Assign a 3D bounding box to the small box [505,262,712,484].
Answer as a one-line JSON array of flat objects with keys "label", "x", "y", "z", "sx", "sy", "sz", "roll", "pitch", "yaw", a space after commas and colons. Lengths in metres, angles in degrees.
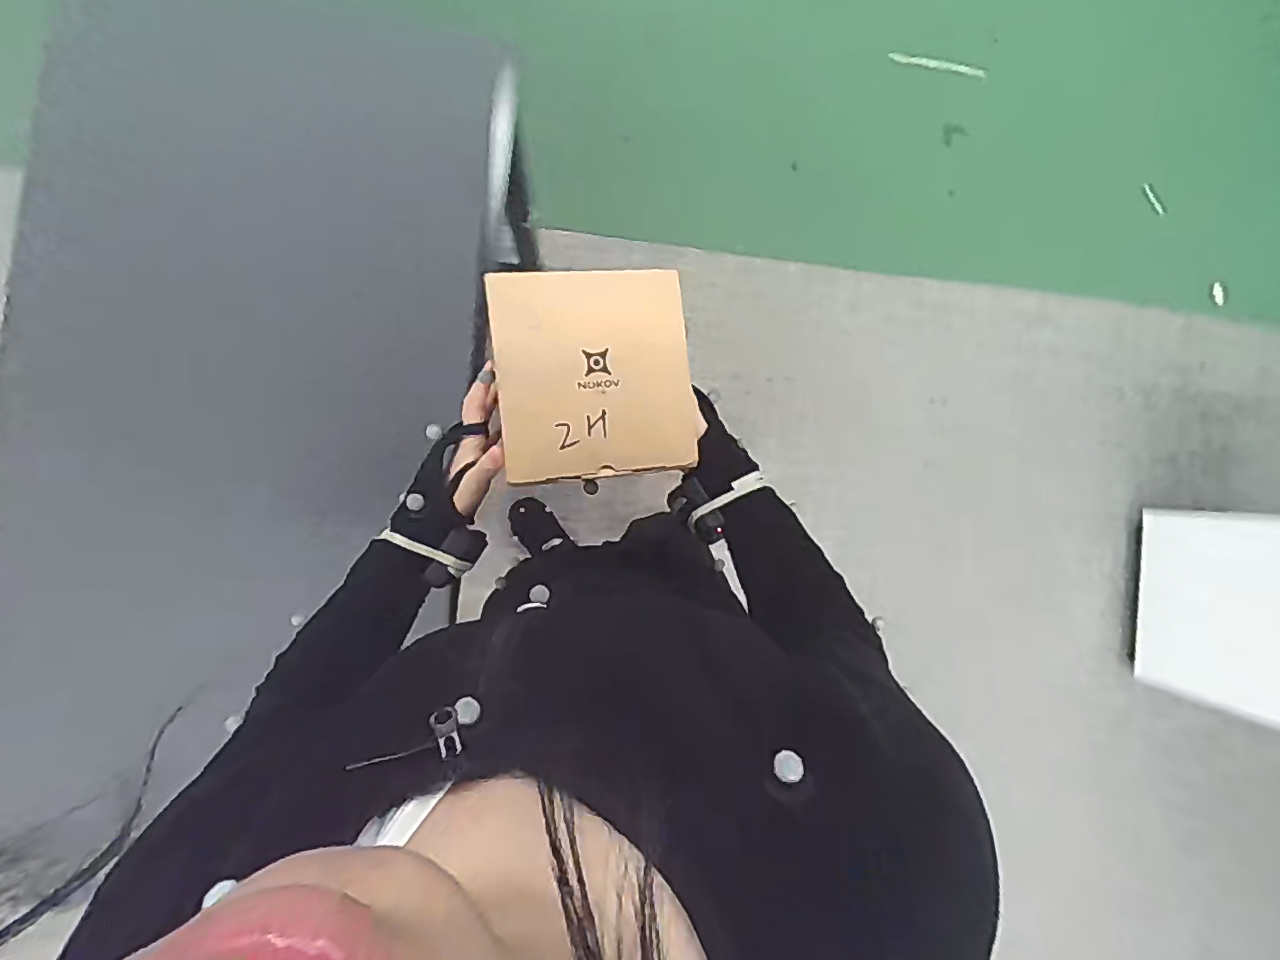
[{"label": "small box", "x": -0.042, "y": -0.092, "z": 0.529, "sx": 0.168, "sy": 0.176, "sz": 0.179, "roll": -6, "pitch": 89, "yaw": -12}]
